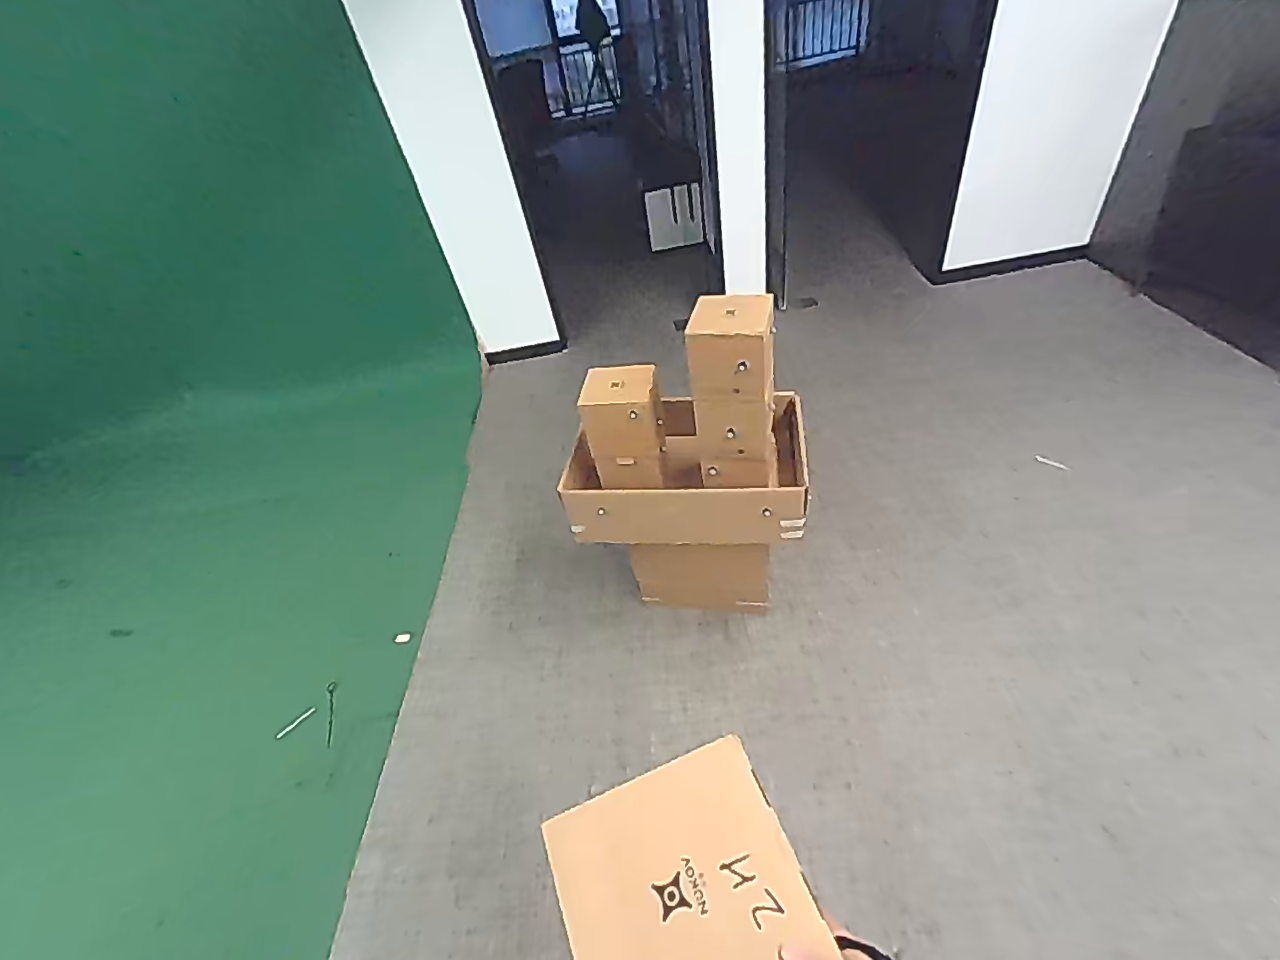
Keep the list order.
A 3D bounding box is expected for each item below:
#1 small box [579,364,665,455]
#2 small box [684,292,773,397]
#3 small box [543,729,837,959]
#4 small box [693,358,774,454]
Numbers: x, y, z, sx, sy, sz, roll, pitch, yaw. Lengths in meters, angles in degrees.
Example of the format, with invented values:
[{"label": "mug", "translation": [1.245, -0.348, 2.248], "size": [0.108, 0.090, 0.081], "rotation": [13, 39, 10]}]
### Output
[{"label": "small box", "translation": [-0.040, -0.176, 1.381], "size": [0.179, 0.176, 0.168], "rotation": [-2, 44, 11]}, {"label": "small box", "translation": [0.204, -0.297, 1.199], "size": [0.168, 0.176, 0.179], "rotation": [4, 44, 18]}, {"label": "small box", "translation": [0.038, 0.347, 0.465], "size": [0.179, 0.176, 0.168], "rotation": [-21, 55, -8]}, {"label": "small box", "translation": [0.234, -0.178, 1.308], "size": [0.168, 0.176, 0.179], "rotation": [3, 45, 17]}]
